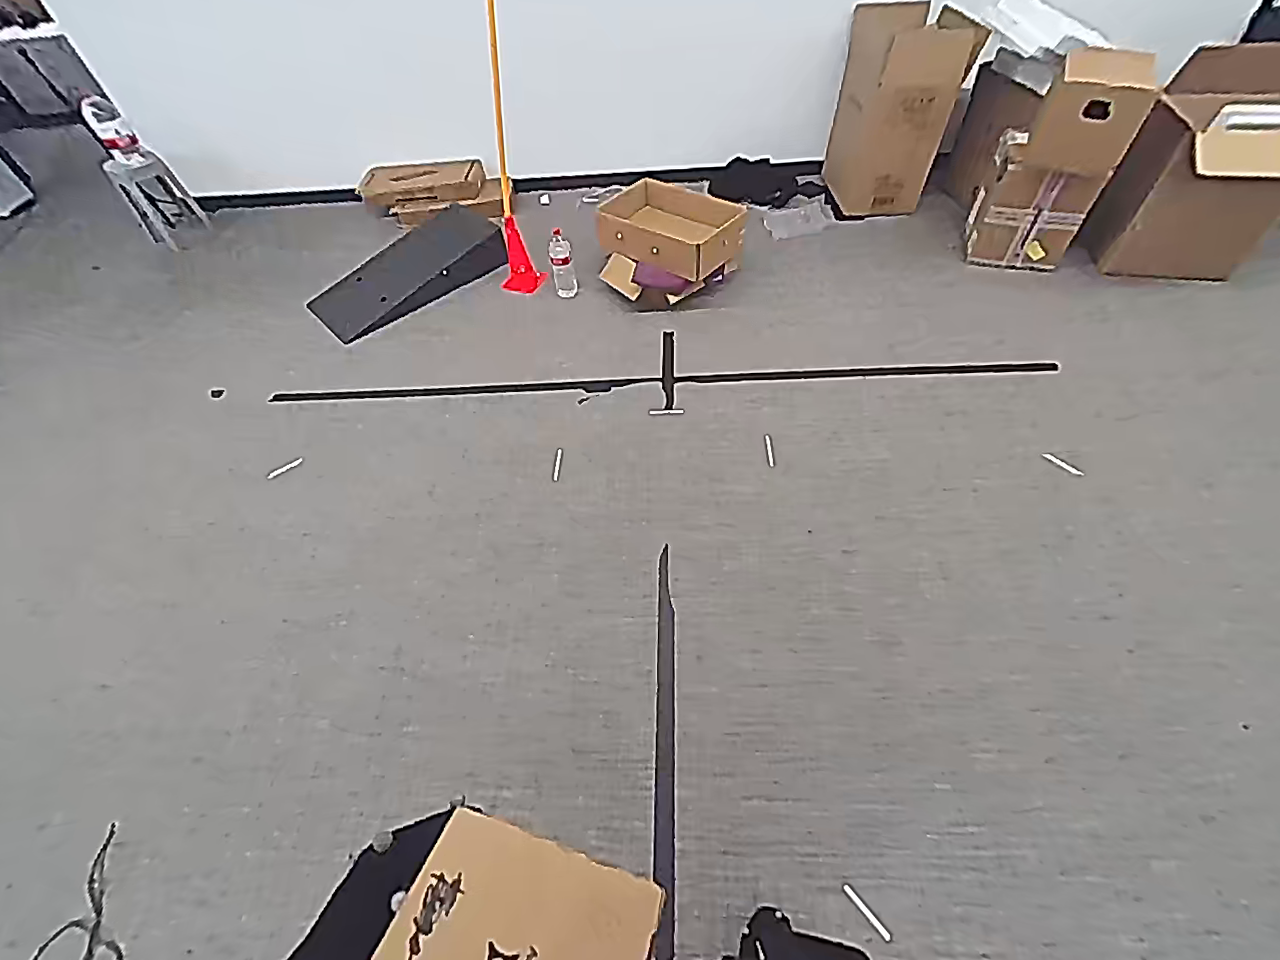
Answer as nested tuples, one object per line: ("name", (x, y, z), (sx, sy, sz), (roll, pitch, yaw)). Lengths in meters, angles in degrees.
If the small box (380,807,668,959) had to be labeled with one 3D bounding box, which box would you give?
("small box", (-0.095, 0.393, 0.401), (0.179, 0.176, 0.168), (16, 33, 9))
